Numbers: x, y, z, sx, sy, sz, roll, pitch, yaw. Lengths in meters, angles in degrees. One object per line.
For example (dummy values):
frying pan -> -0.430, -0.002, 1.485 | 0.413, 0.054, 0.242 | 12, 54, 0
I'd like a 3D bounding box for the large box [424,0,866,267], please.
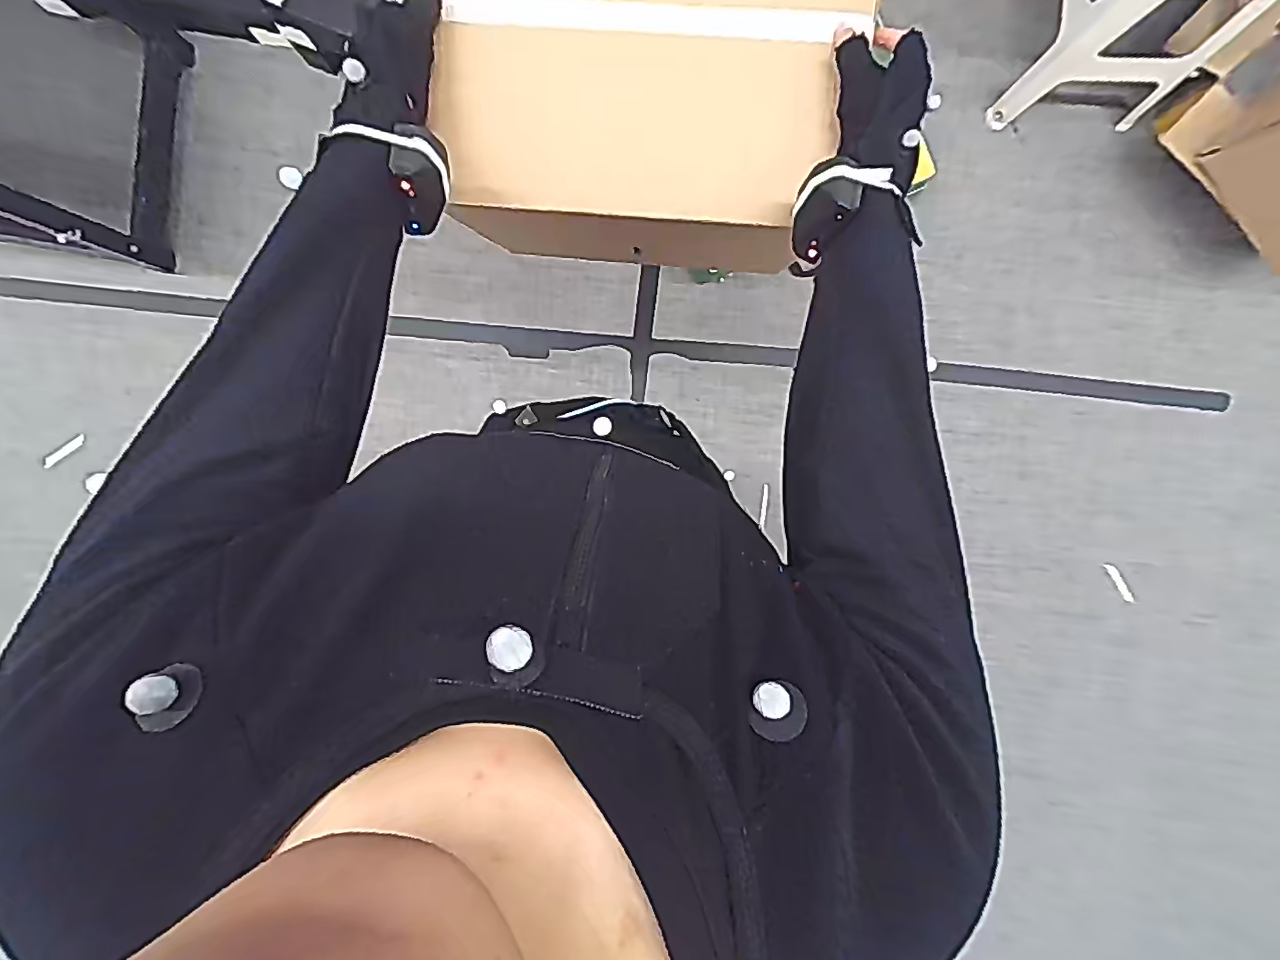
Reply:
large box -> 0.009, -0.439, 0.632 | 0.408, 0.320, 0.320 | 5, 103, 2
